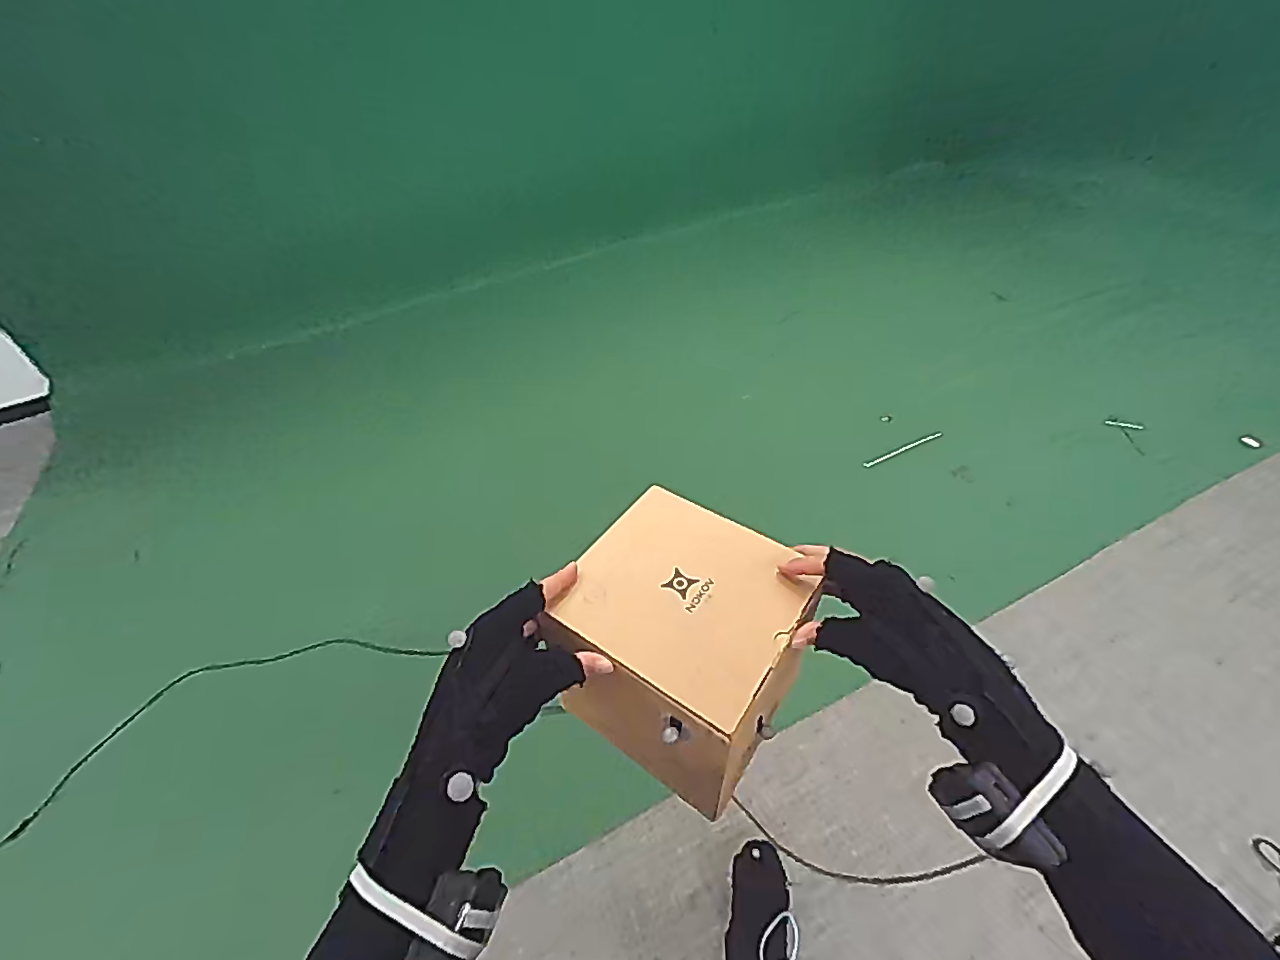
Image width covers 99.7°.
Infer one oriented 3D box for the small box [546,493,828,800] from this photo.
[{"bbox_3d":[0.040,0.148,0.491,0.179,0.176,0.168,26,49,26],"label":"small box"}]
